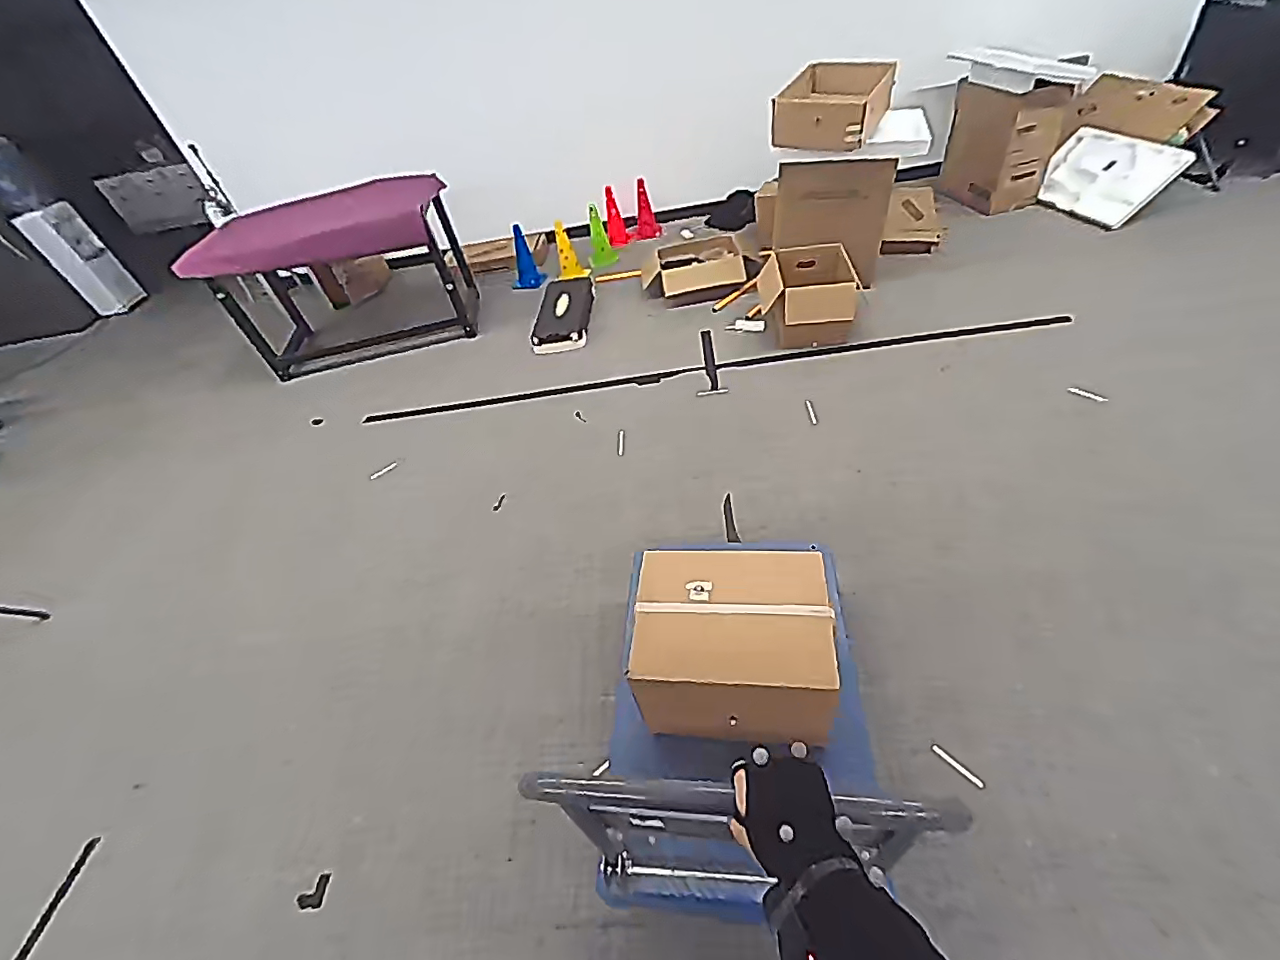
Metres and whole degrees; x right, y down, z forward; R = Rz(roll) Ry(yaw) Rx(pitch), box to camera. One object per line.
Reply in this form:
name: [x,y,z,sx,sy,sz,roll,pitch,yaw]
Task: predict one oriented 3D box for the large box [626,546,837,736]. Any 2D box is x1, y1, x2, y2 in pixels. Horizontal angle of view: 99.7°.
large box: [0.209,0.369,1.230,0.408,0.320,0.320,-2,45,12]
